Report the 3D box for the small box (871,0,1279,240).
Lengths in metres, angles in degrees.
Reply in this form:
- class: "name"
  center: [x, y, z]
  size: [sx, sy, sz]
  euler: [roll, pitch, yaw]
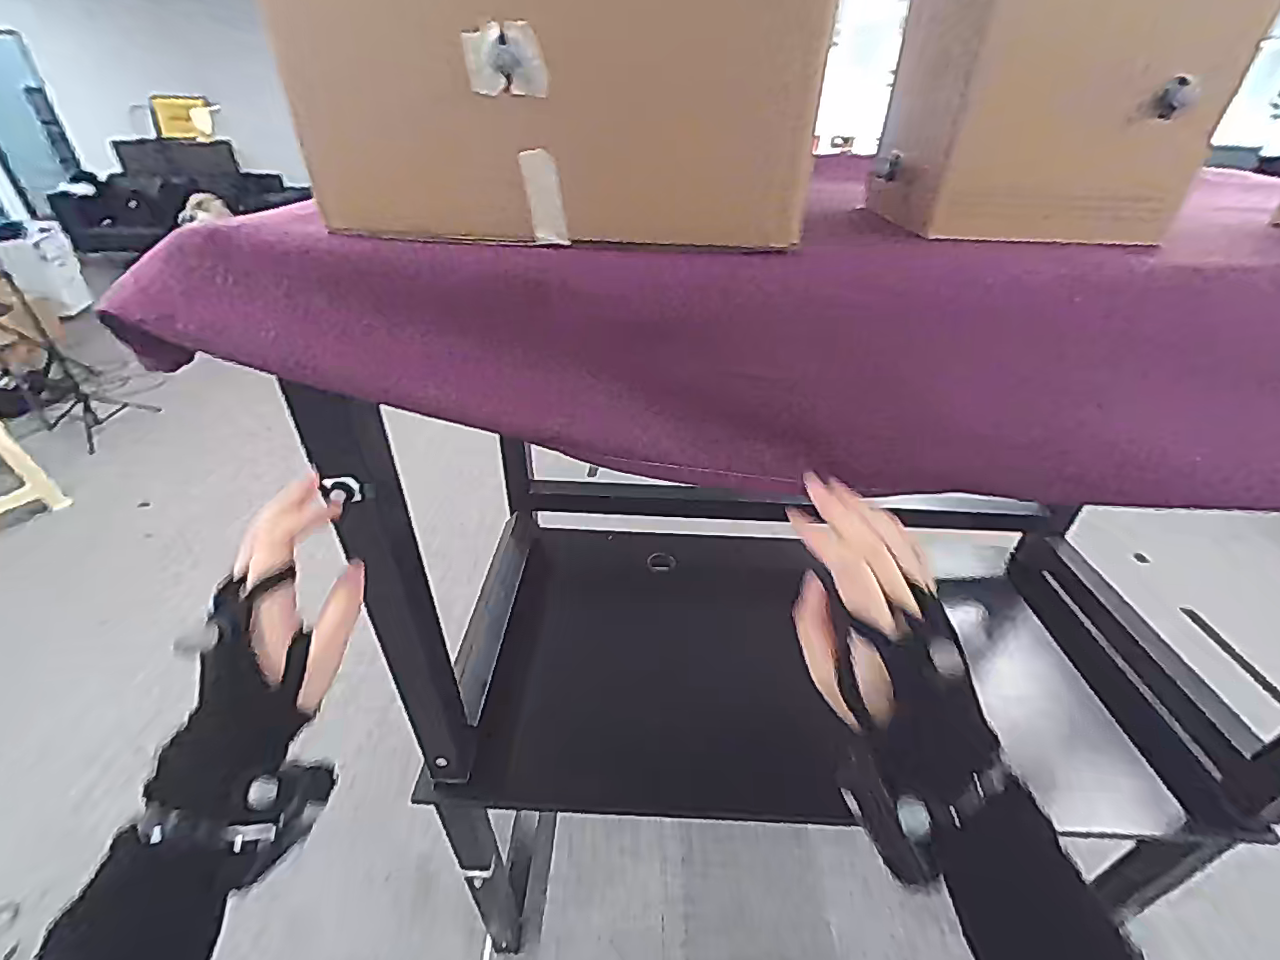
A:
- class: "small box"
  center: [0.307, -0.290, 0.419]
  size: [0.179, 0.176, 0.168]
  euler: [2, 33, 2]
